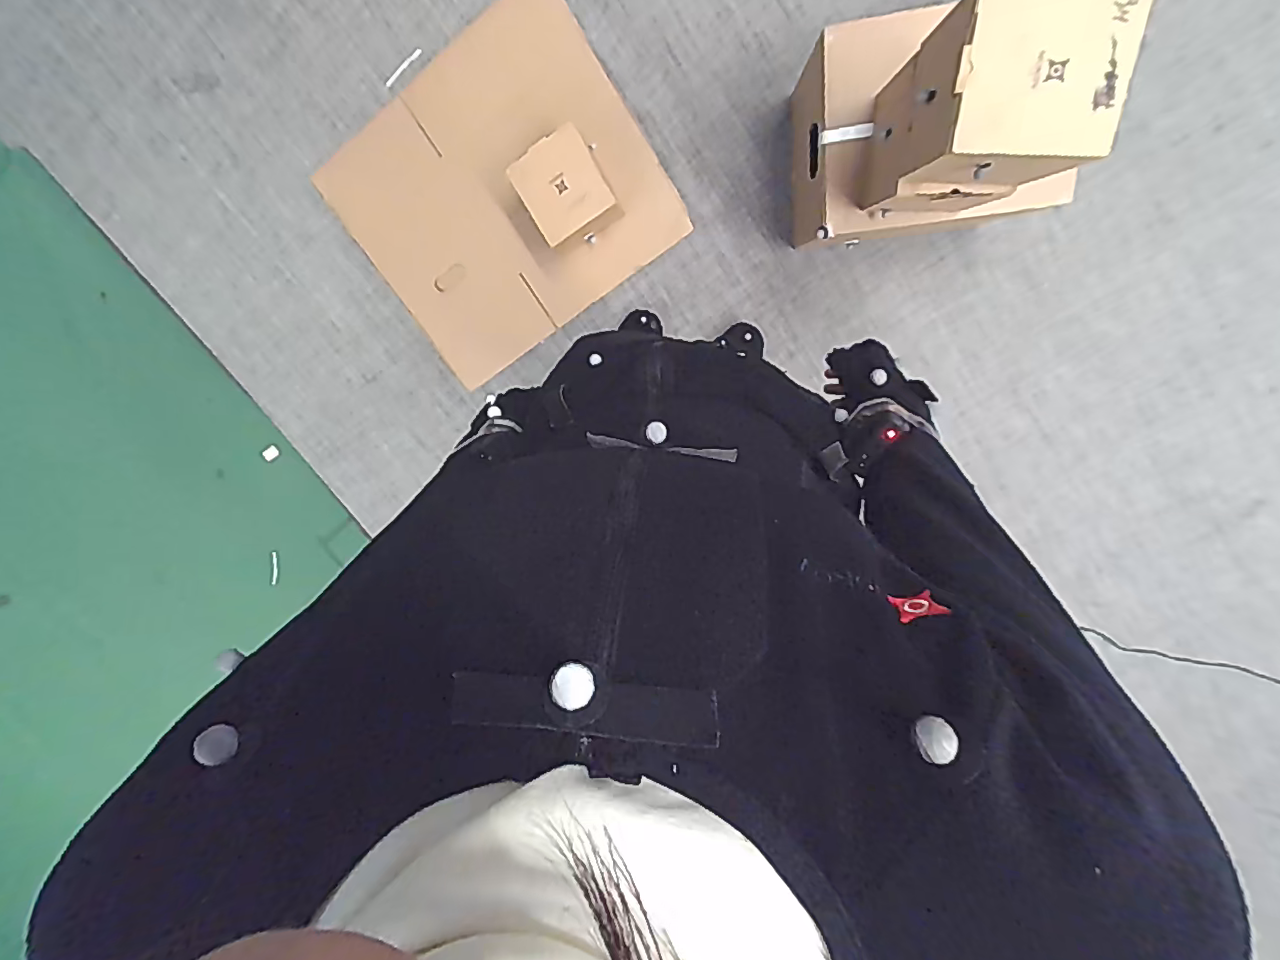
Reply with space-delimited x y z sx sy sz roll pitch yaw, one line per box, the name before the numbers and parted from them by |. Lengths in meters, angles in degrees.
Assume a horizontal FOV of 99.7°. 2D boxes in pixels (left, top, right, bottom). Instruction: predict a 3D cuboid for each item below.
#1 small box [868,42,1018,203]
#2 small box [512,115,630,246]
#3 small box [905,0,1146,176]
small box | 0.457 -0.522 0.812 0.168 0.176 0.179 2 109 5
small box | -0.139 -0.625 1.158 0.168 0.176 0.179 -29 104 16
small box | 0.446 -0.480 0.657 0.179 0.176 0.168 1 108 5
